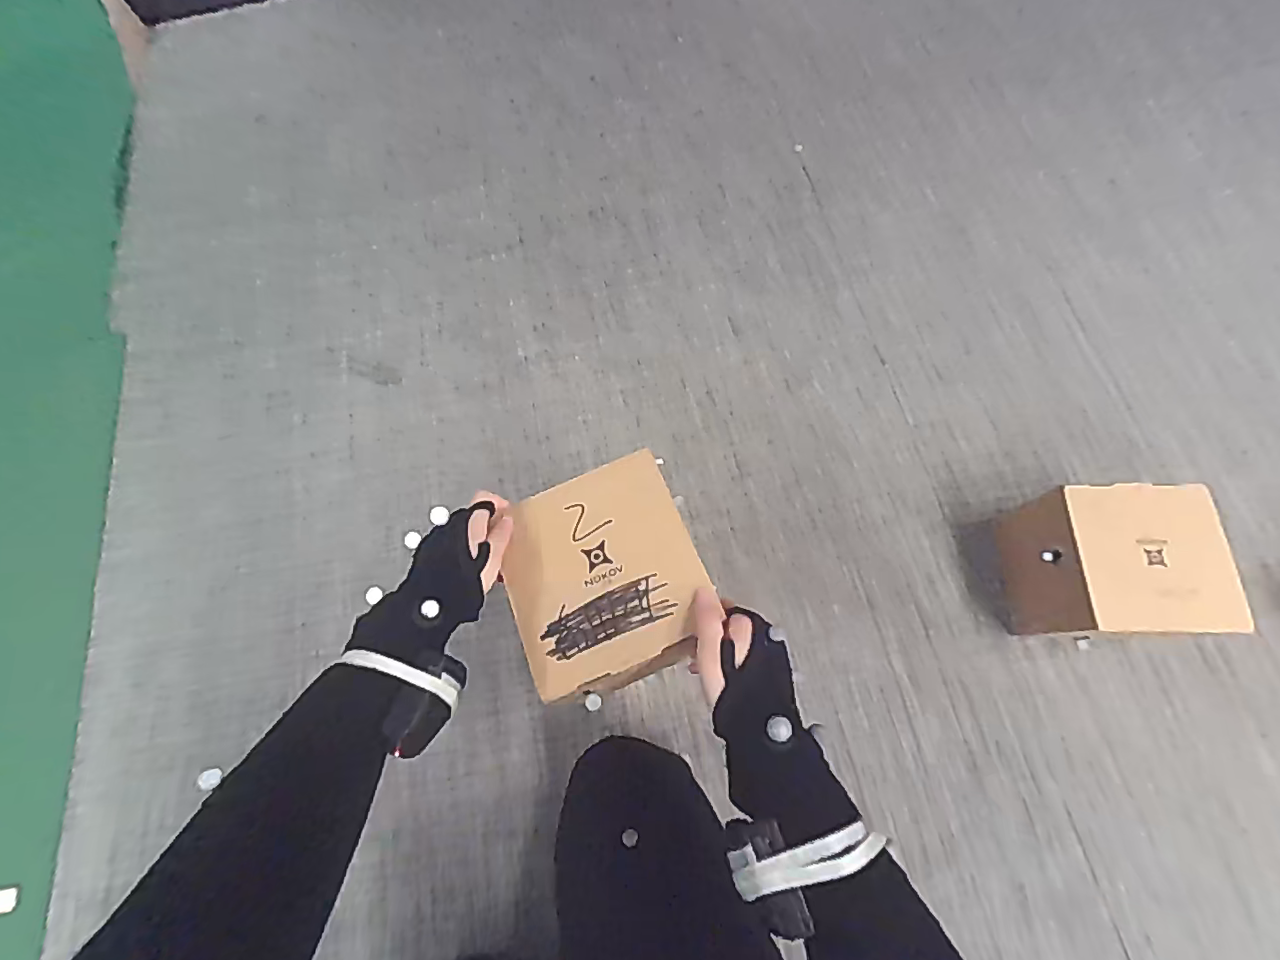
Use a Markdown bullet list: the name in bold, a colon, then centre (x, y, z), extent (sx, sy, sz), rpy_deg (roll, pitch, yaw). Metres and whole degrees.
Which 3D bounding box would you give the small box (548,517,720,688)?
- **small box**: centre (-0.004, 0.171, 0.724), extent (0.179, 0.176, 0.168), rpy_deg (-19, 70, -2)

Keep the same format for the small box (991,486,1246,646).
- **small box**: centre (0.594, 0.118, 0.704), extent (0.168, 0.176, 0.179), rpy_deg (0, 70, 4)
